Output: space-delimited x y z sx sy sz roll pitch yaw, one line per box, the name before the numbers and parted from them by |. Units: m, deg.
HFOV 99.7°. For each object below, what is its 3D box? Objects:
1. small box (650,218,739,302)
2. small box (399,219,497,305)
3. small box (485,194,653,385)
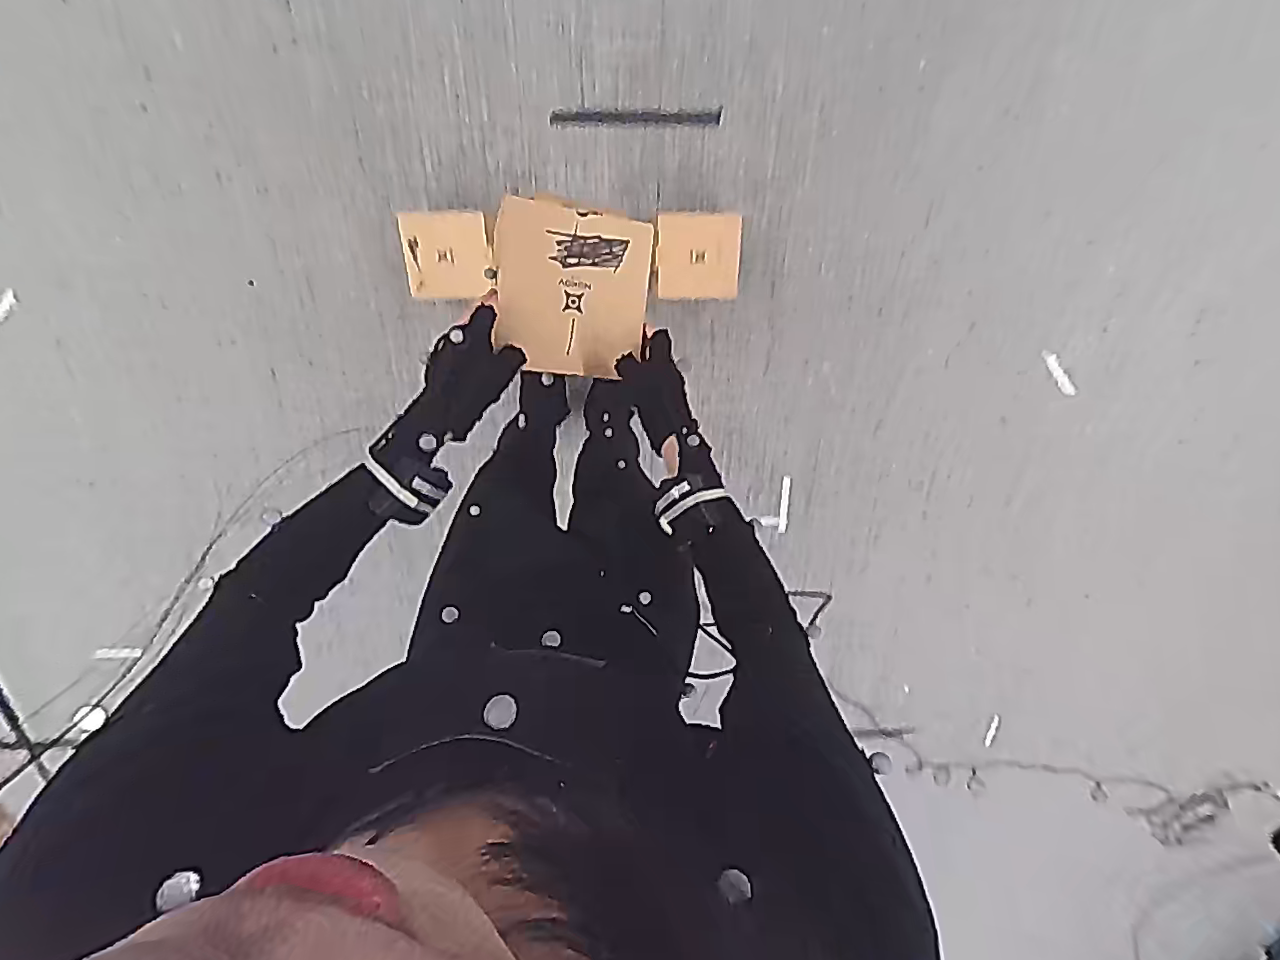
small box | 0.113 -0.491 1.206 0.179 0.176 0.168 -2 115 -3
small box | -0.399 -0.480 1.185 0.179 0.176 0.168 -2 114 -2
small box | -0.097 -0.215 0.656 0.168 0.176 0.179 3 102 -19
